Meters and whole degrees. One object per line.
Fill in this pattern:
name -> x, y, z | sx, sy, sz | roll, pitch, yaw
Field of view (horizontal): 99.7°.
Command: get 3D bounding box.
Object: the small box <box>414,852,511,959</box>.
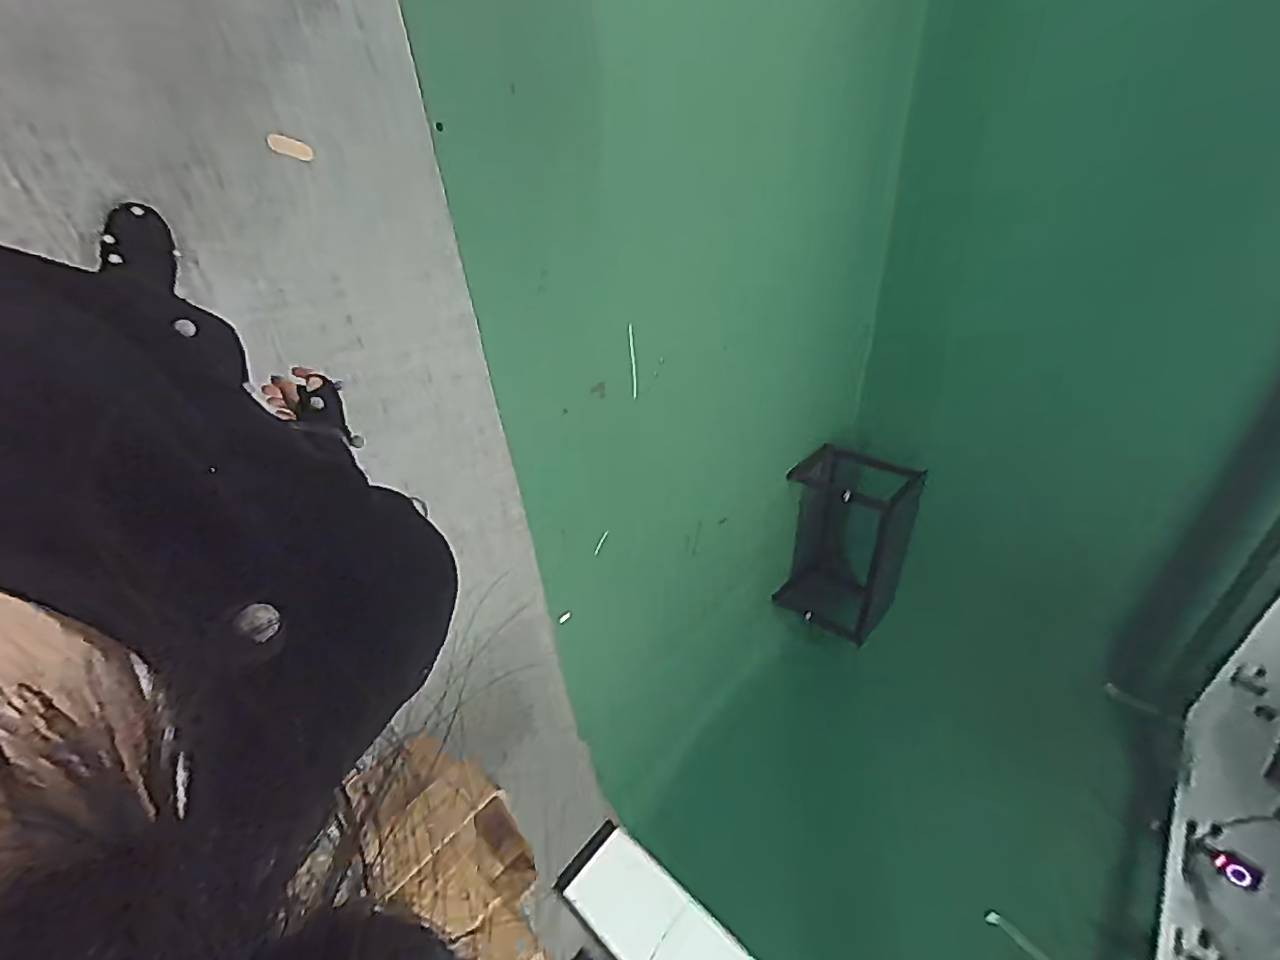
small box -> -0.490, 1.175, 1.488 | 0.168, 0.176, 0.179 | -37, 134, -34

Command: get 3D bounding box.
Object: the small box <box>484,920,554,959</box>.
small box -> -0.333, 1.405, 1.529 | 0.168, 0.176, 0.179 | -37, 131, -33

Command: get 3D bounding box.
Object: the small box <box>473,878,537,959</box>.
small box -> -0.447, 1.357, 1.635 | 0.168, 0.176, 0.179 | -40, 133, -32
